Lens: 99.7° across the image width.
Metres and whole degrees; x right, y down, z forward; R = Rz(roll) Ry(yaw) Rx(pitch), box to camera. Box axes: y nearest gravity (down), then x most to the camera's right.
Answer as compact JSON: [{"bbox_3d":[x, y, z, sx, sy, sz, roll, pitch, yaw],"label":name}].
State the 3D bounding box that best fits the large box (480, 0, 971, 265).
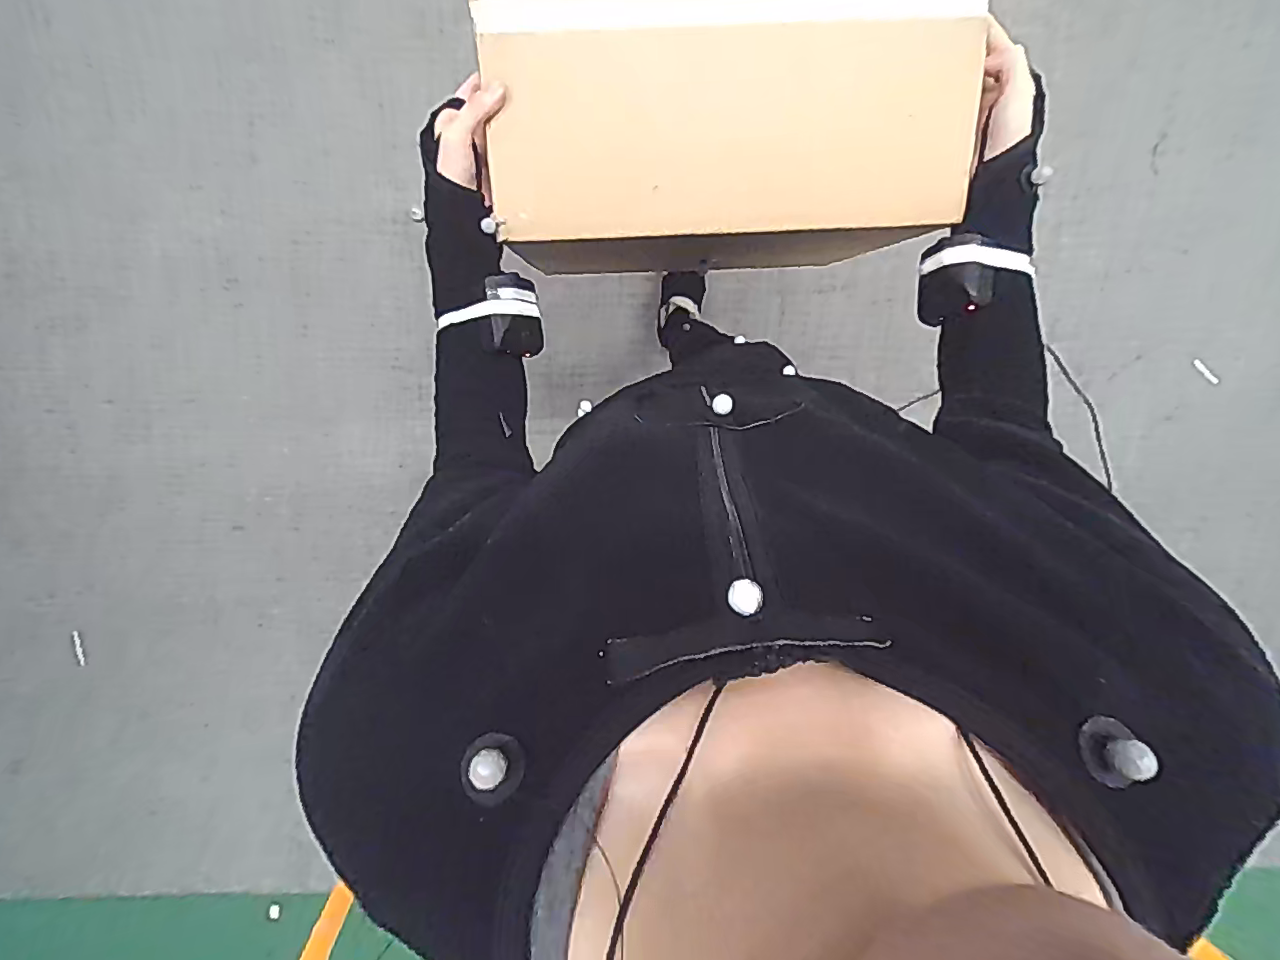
[{"bbox_3d":[0.069,-0.416,0.578,0.408,0.320,0.320,-3,105,-1],"label":"large box"}]
